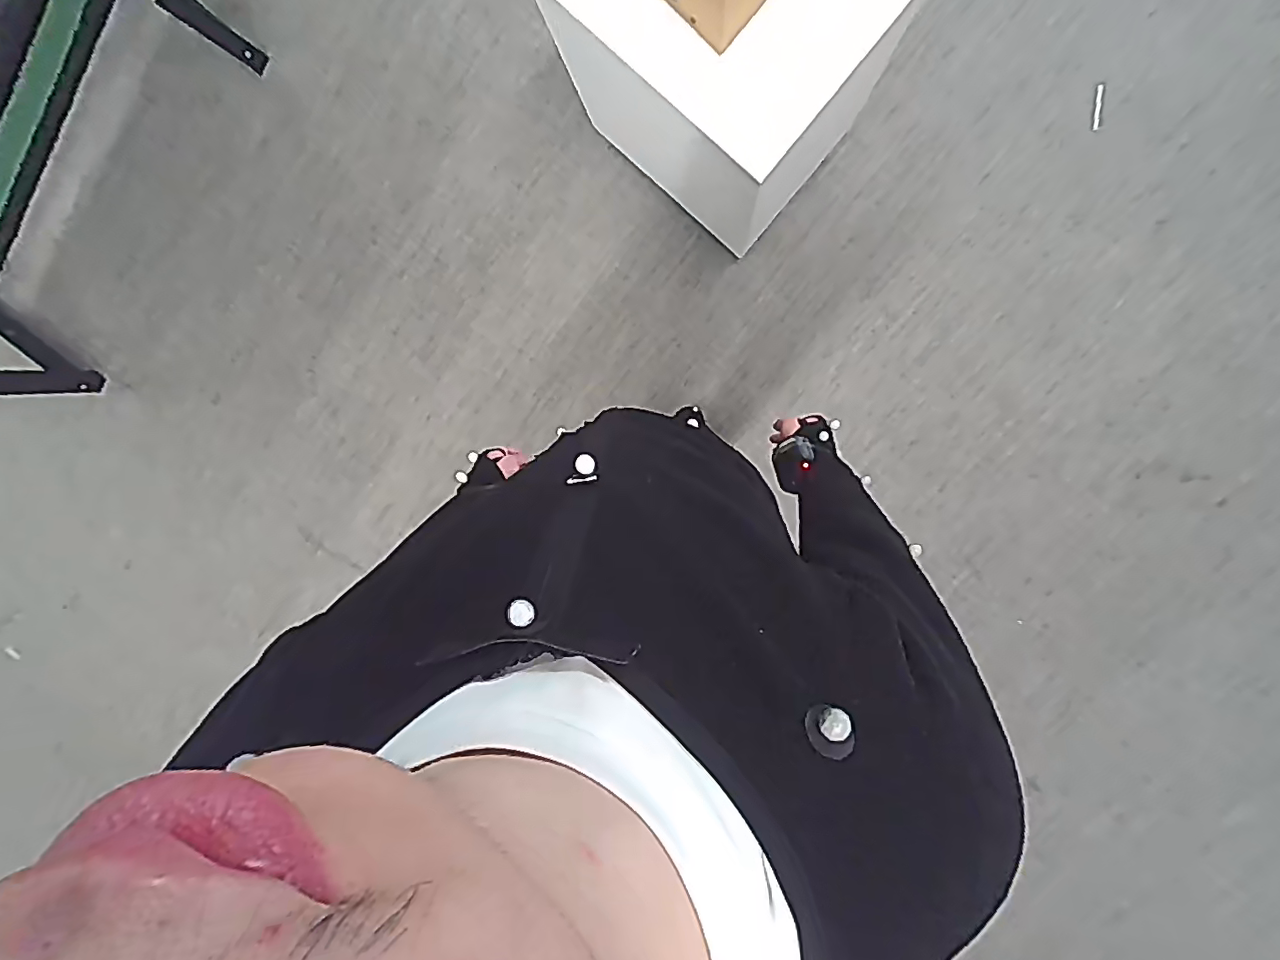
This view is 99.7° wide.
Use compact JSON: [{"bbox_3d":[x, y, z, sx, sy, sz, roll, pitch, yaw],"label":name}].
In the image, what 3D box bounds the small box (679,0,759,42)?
[{"bbox_3d":[0.116,-0.765,0.735,0.168,0.176,0.179,41,102,-2],"label":"small box"}]
